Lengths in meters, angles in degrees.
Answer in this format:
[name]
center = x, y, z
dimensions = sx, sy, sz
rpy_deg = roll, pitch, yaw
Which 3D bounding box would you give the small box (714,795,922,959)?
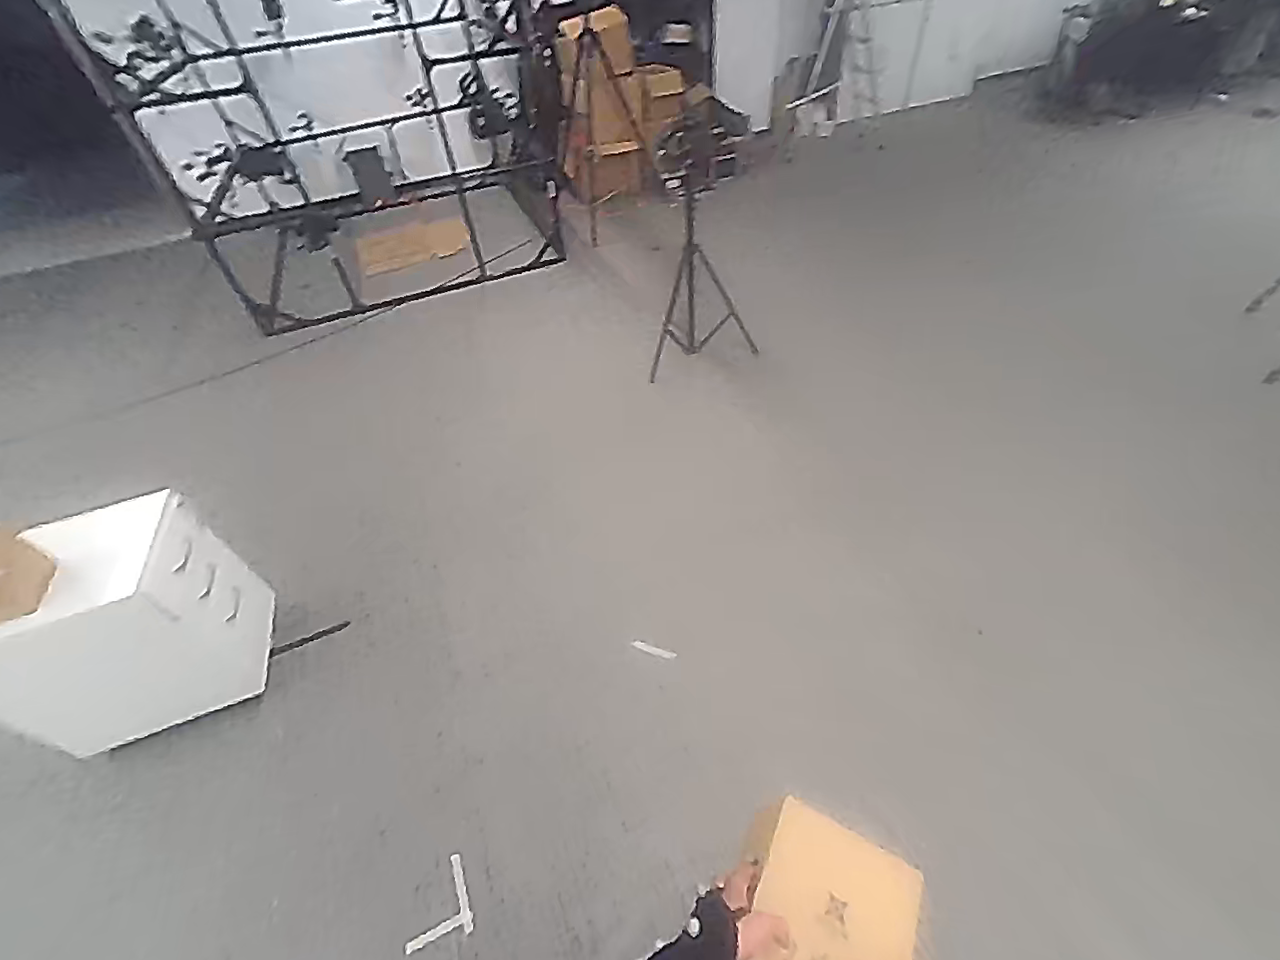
[small box]
center = 0.200, 0.514, 0.640
dimensions = 0.168, 0.176, 0.179
rpy_deg = 25, 55, 15
